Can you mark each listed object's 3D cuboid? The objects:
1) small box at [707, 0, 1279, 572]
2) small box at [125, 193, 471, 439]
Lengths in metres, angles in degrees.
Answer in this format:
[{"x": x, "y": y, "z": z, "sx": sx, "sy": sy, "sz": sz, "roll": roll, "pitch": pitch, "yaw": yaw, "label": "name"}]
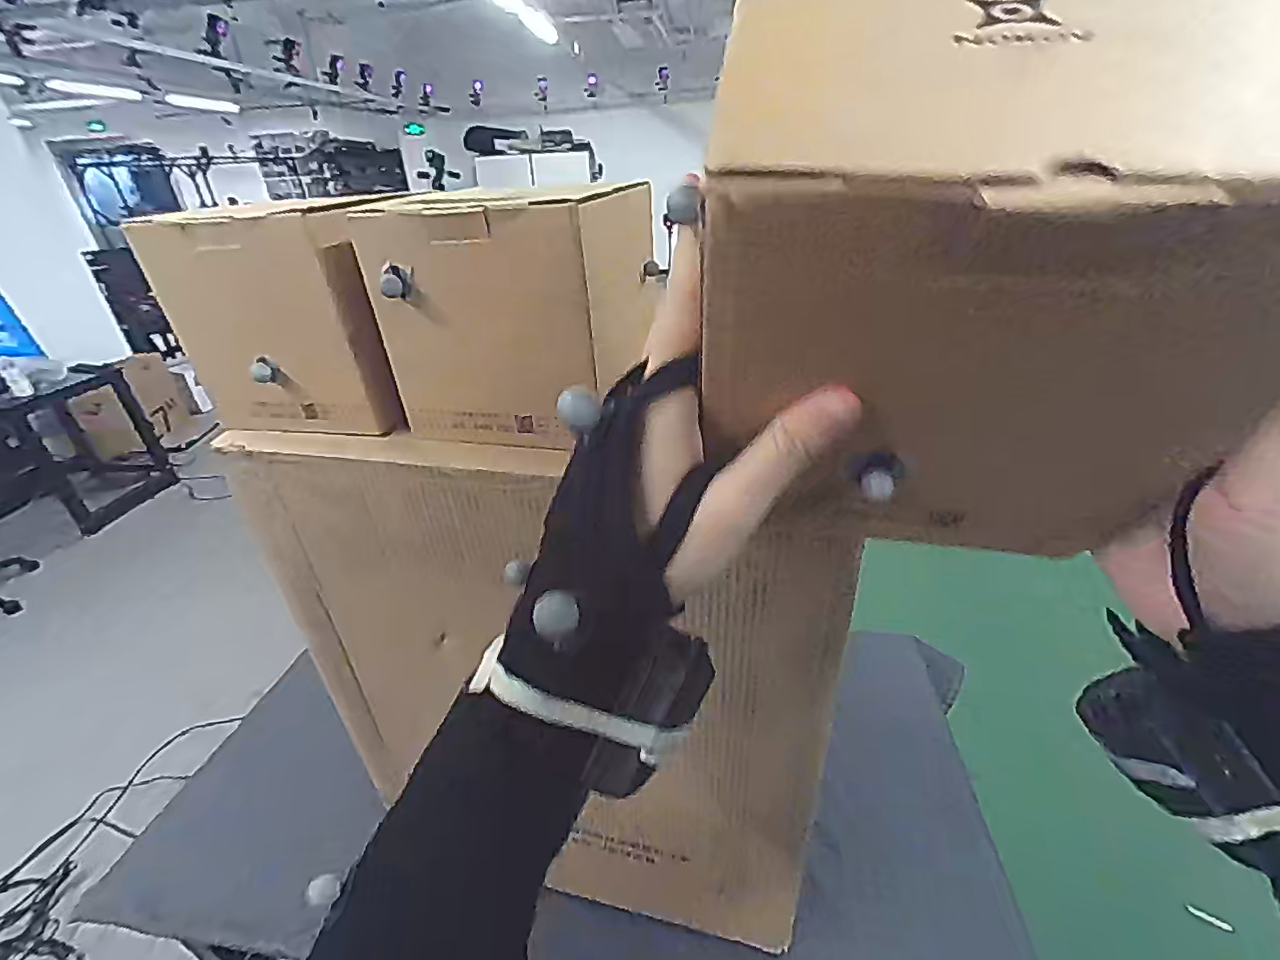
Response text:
[{"x": 0.120, "y": -0.083, "z": 0.226, "sx": 0.168, "sy": 0.176, "sz": 0.179, "roll": 6, "pitch": 59, "yaw": 10, "label": "small box"}, {"x": -0.269, "y": -0.151, "z": 0.479, "sx": 0.168, "sy": 0.176, "sz": 0.179, "roll": 4, "pitch": 32, "yaw": 13, "label": "small box"}]
